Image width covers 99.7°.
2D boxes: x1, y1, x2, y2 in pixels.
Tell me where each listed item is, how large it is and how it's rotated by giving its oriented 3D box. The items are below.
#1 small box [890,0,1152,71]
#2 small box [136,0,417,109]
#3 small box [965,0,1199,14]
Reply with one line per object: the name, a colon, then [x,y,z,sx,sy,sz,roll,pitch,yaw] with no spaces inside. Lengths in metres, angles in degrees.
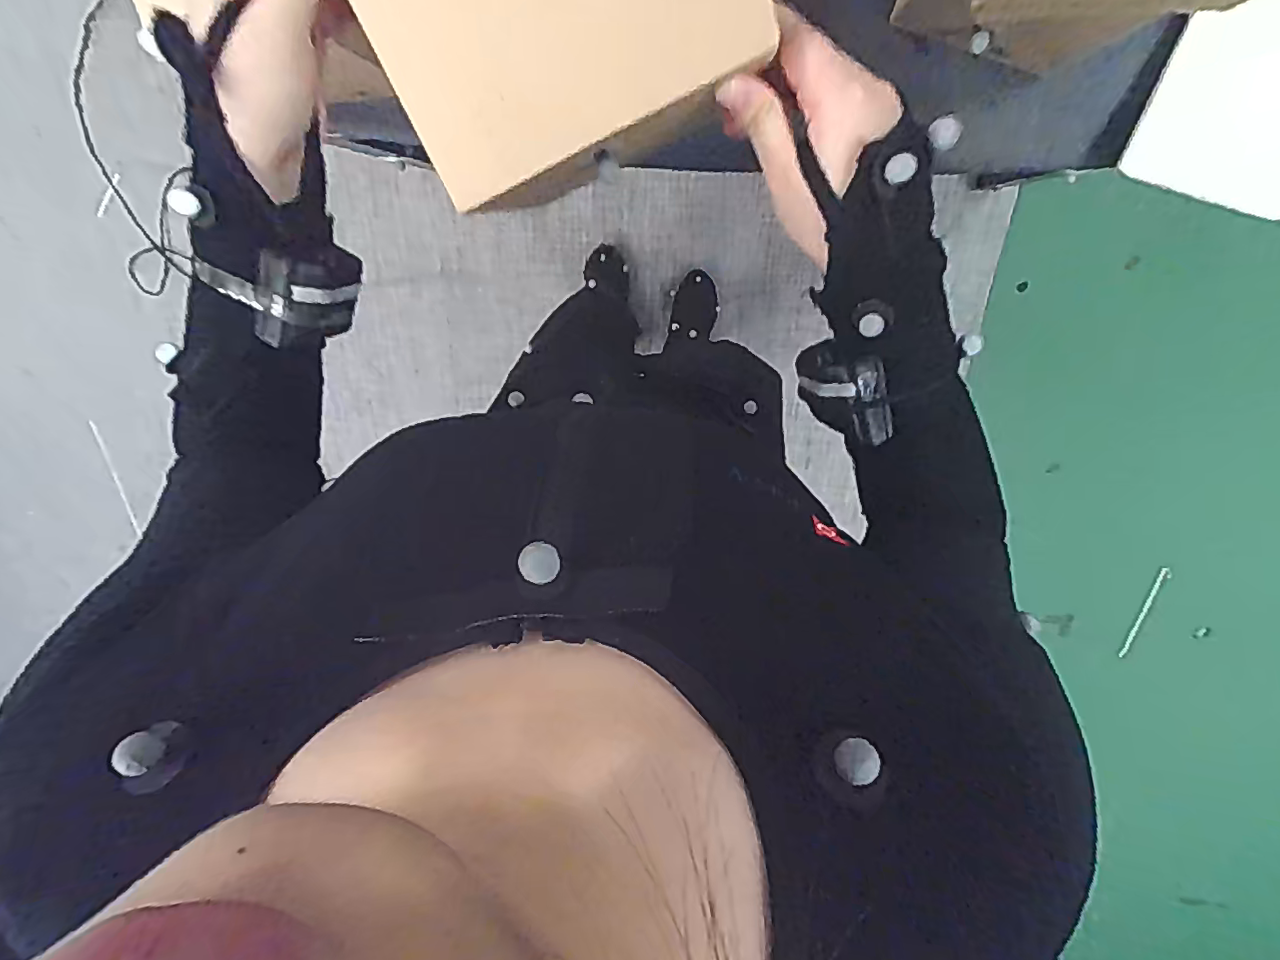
small box: [0.328,-0.470,0.426,0.168,0.176,0.179,18,114,-1]
small box: [-0.336,-0.474,0.503,0.168,0.176,0.179,-1,113,7]
small box: [0.314,-0.382,0.287,0.179,0.176,0.168,3,113,6]
